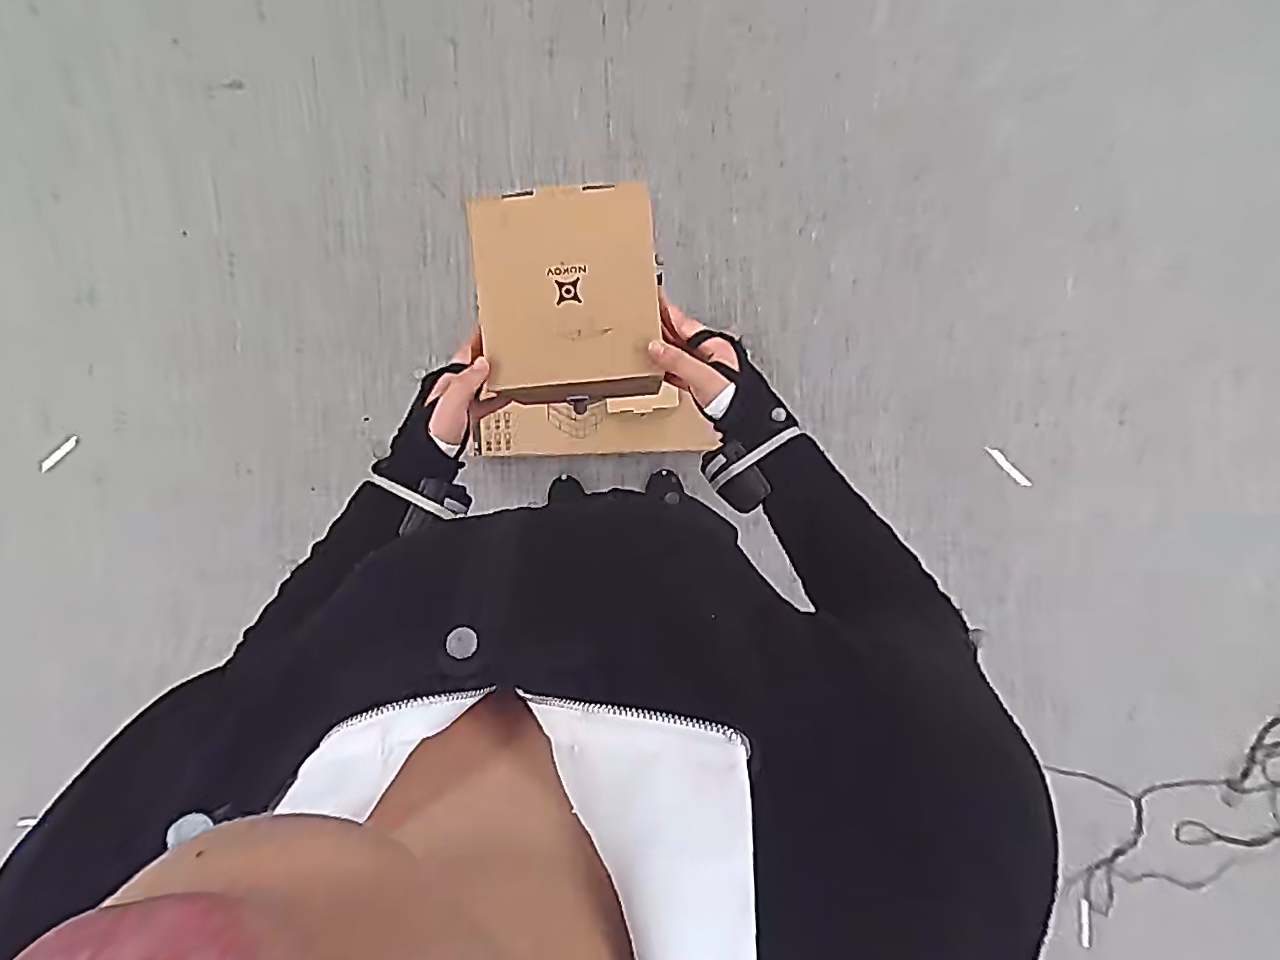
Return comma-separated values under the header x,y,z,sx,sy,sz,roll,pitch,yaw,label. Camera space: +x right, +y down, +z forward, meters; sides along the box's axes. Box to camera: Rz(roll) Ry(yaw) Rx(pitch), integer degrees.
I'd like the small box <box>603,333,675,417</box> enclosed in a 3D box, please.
x,y,z,sx,sy,sz,roll,pitch,yaw,label
-0.007,-0.246,1.305,0.168,0.176,0.179,-4,92,-2,small box

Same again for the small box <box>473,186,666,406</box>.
x,y,z,sx,sy,sz,roll,pitch,yaw,label
-0.065,-0.177,0.570,0.168,0.176,0.179,-5,93,0,small box
